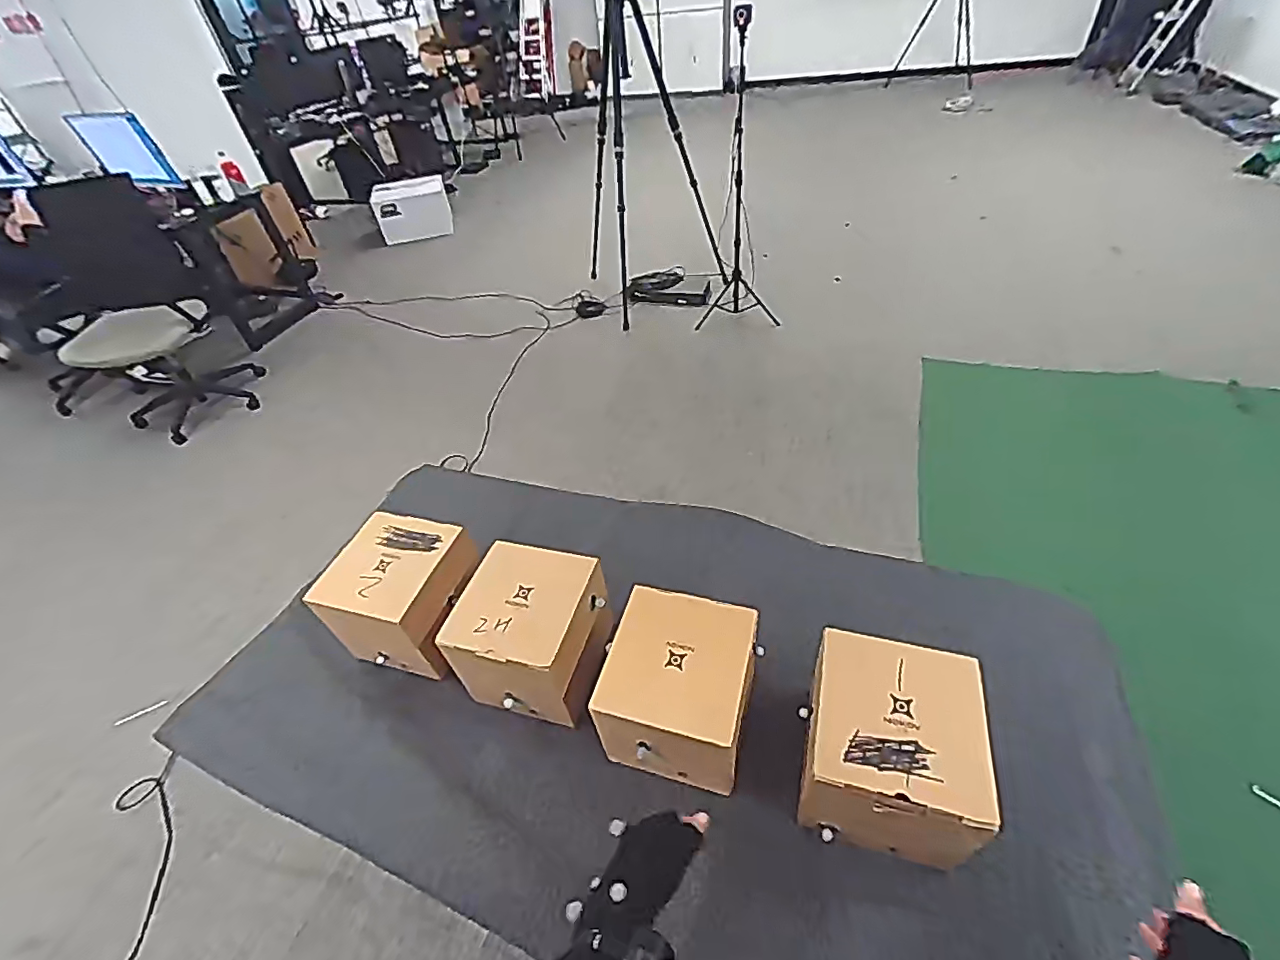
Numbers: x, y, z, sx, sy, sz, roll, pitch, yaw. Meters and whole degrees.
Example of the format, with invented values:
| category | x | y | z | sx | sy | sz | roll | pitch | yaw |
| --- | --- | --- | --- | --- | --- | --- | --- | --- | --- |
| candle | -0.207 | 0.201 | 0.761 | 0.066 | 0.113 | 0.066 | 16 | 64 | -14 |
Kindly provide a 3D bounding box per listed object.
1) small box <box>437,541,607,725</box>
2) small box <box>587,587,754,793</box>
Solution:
| category | x | y | z | sx | sy | sz | roll | pitch | yaw |
| --- | --- | --- | --- | --- | --- | --- | --- | --- | --- |
| small box | -0.153 | 0.218 | 0.778 | 0.168 | 0.176 | 0.179 | 8 | 45 | 16 |
| small box | 0.050 | 0.270 | 0.698 | 0.168 | 0.176 | 0.179 | 8 | 45 | 17 |
